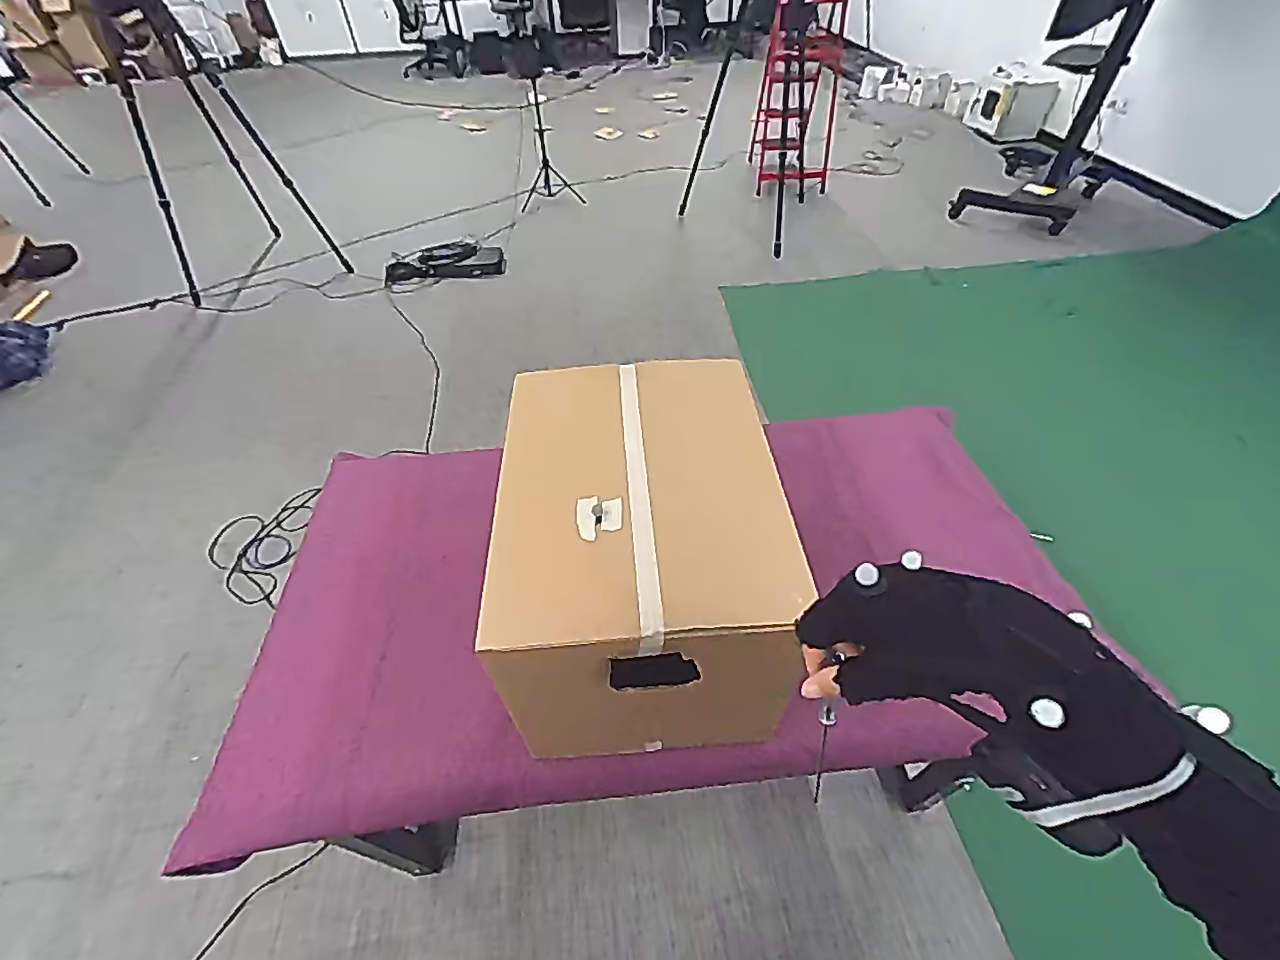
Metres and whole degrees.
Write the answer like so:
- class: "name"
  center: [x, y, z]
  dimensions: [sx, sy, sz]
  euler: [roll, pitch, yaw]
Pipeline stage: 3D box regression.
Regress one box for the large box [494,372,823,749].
- class: "large box"
  center: [0.004, 0.100, 0.735]
  dimensions: [0.320, 0.320, 0.408]
  euler: [-4, 48, -1]
